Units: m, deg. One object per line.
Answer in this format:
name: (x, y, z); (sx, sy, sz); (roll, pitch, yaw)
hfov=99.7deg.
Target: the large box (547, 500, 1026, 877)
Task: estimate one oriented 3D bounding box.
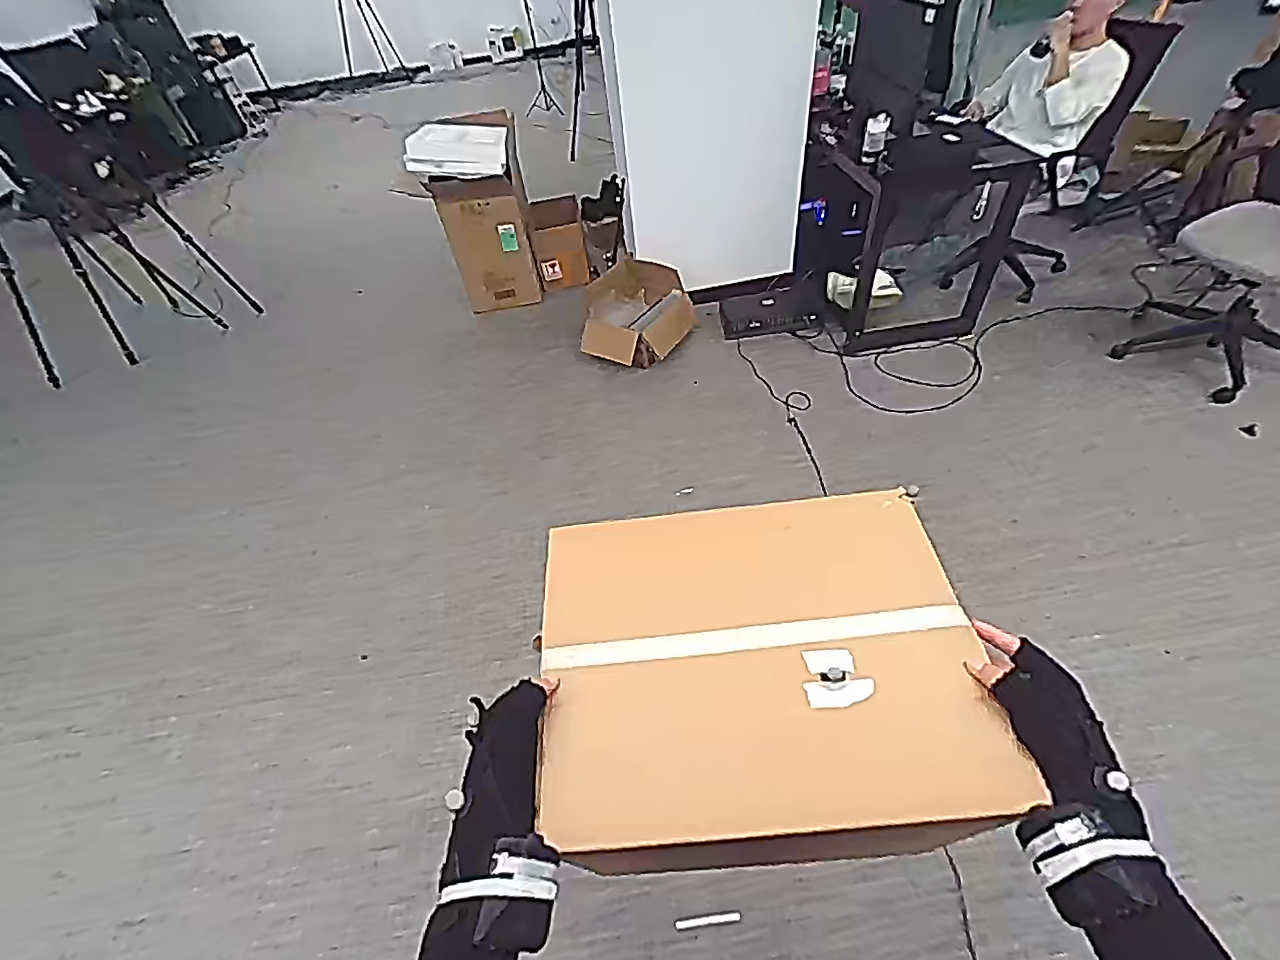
large box: (0.121, 0.258, 0.648); (0.408, 0.320, 0.320); (-7, 51, 2)
